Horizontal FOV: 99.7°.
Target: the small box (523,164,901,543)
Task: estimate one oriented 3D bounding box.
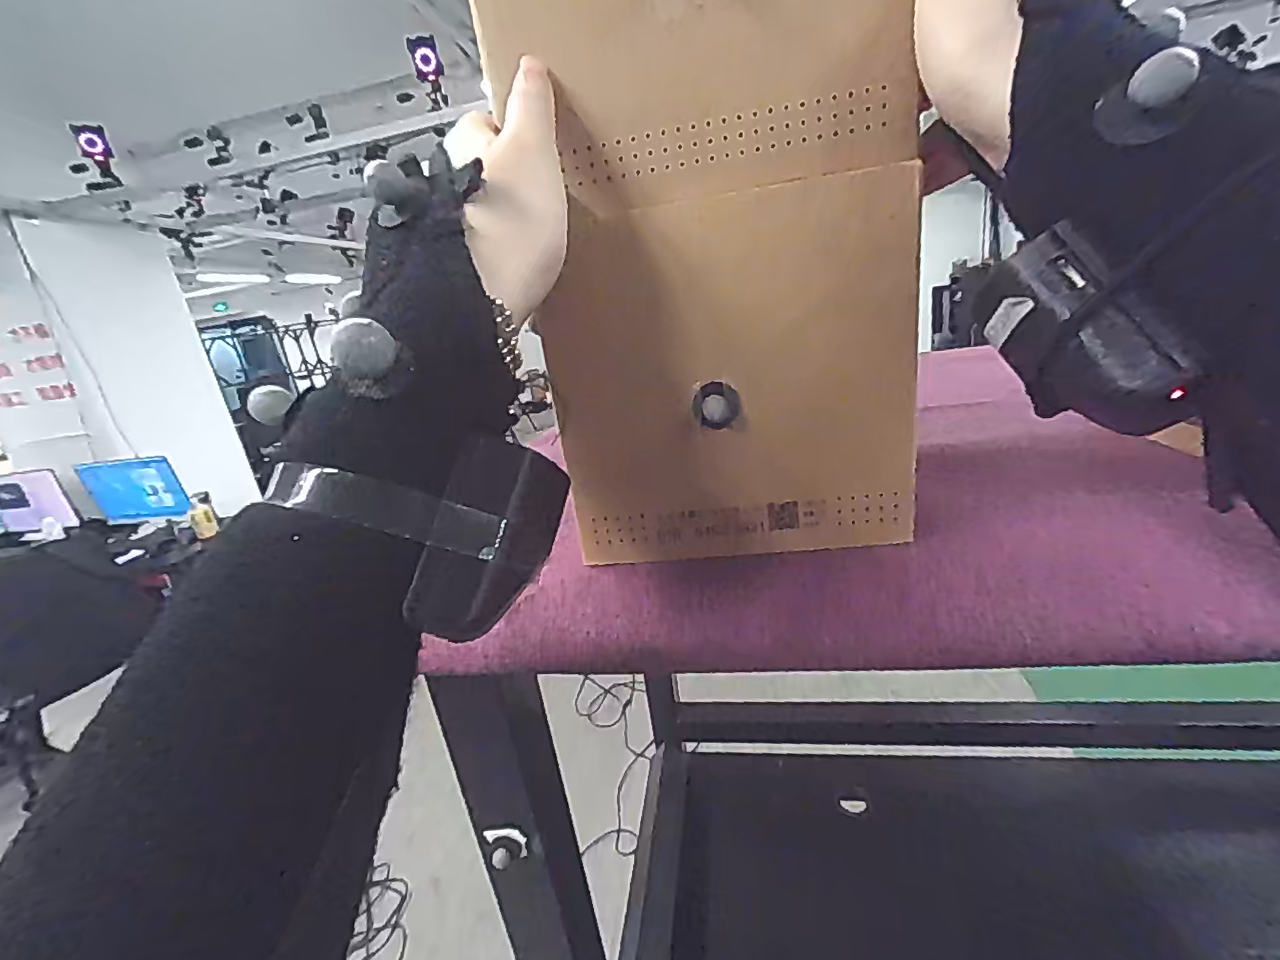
[{"bbox_3d":[0.048,-0.068,0.330,0.168,0.176,0.179,-5,19,9],"label":"small box"}]
